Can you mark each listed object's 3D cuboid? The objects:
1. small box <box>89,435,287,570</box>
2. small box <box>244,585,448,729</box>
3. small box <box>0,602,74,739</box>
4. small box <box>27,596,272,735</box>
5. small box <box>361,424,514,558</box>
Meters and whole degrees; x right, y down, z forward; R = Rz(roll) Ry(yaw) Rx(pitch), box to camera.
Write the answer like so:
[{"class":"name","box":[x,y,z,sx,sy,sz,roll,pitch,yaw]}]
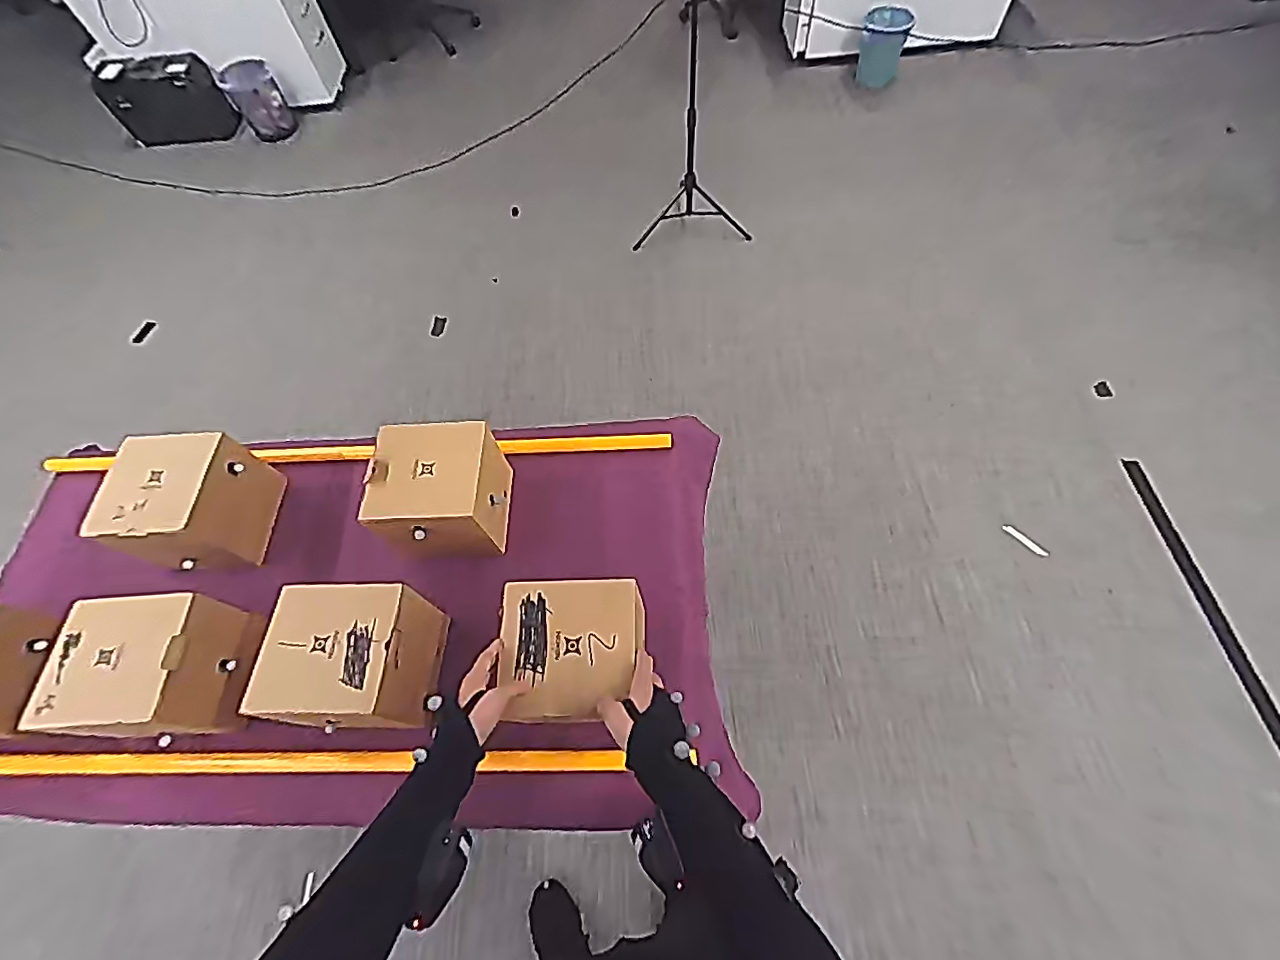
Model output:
[{"class":"small box","box":[-0.741,0.042,0.914,0.168,0.176,0.179,-3,63,3]},{"class":"small box","box":[-0.397,0.255,0.770,0.179,0.176,0.168,-1,60,5]},{"class":"small box","box":[-0.977,0.284,0.796,0.179,0.176,0.168,-2,61,0]},{"class":"small box","box":[-0.682,0.273,0.783,0.179,0.176,0.168,-3,61,2]},{"class":"small box","box":[-0.318,0.024,0.893,0.179,0.176,0.168,-3,62,4]}]
